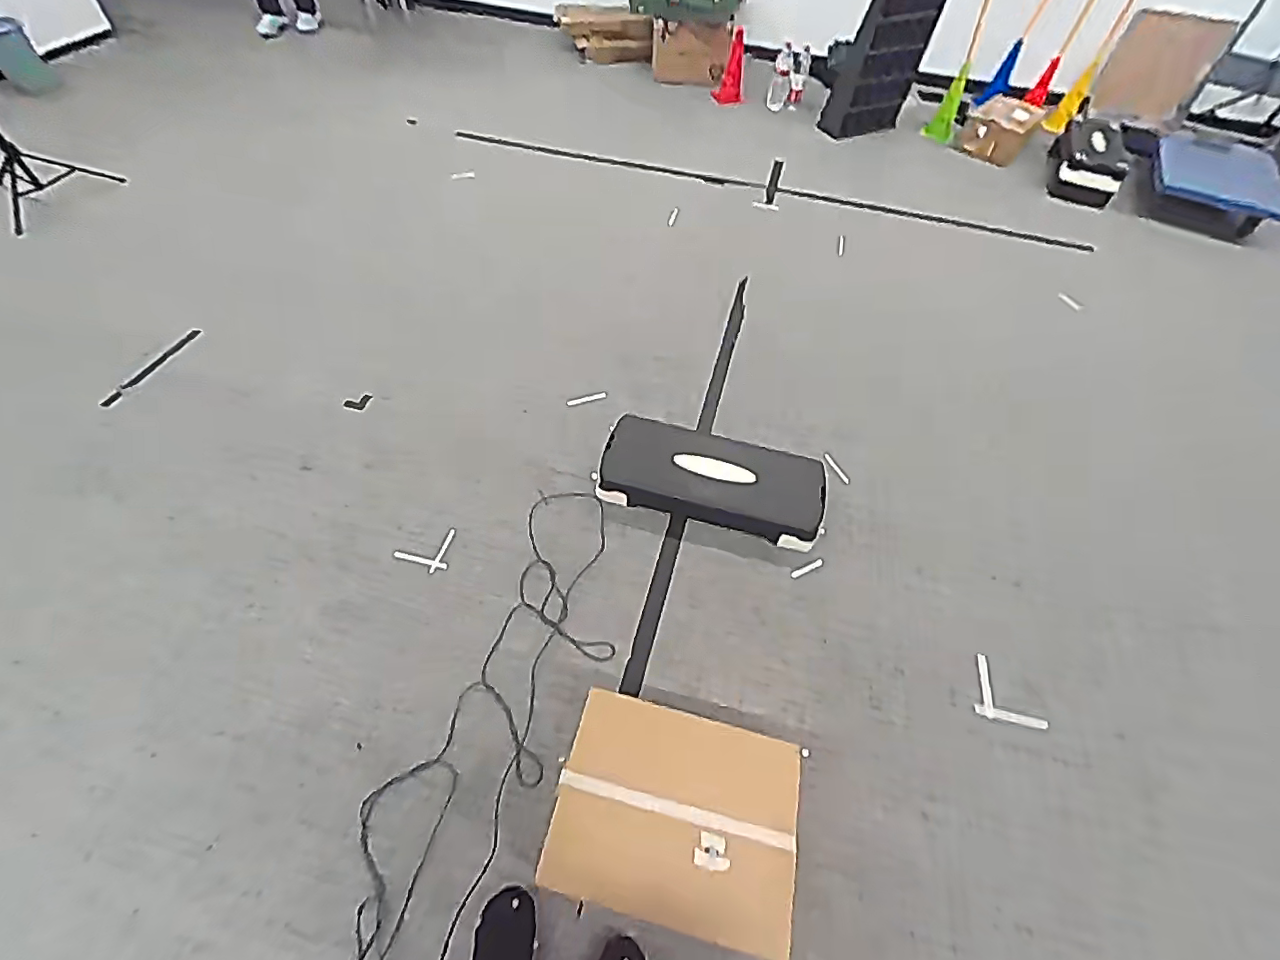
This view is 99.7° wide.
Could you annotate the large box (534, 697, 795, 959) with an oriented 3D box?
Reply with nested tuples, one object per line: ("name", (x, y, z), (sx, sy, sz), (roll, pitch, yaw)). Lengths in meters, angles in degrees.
("large box", (0.044, 0.658, 1.035), (0.408, 0.320, 0.320), (14, 54, 5))
